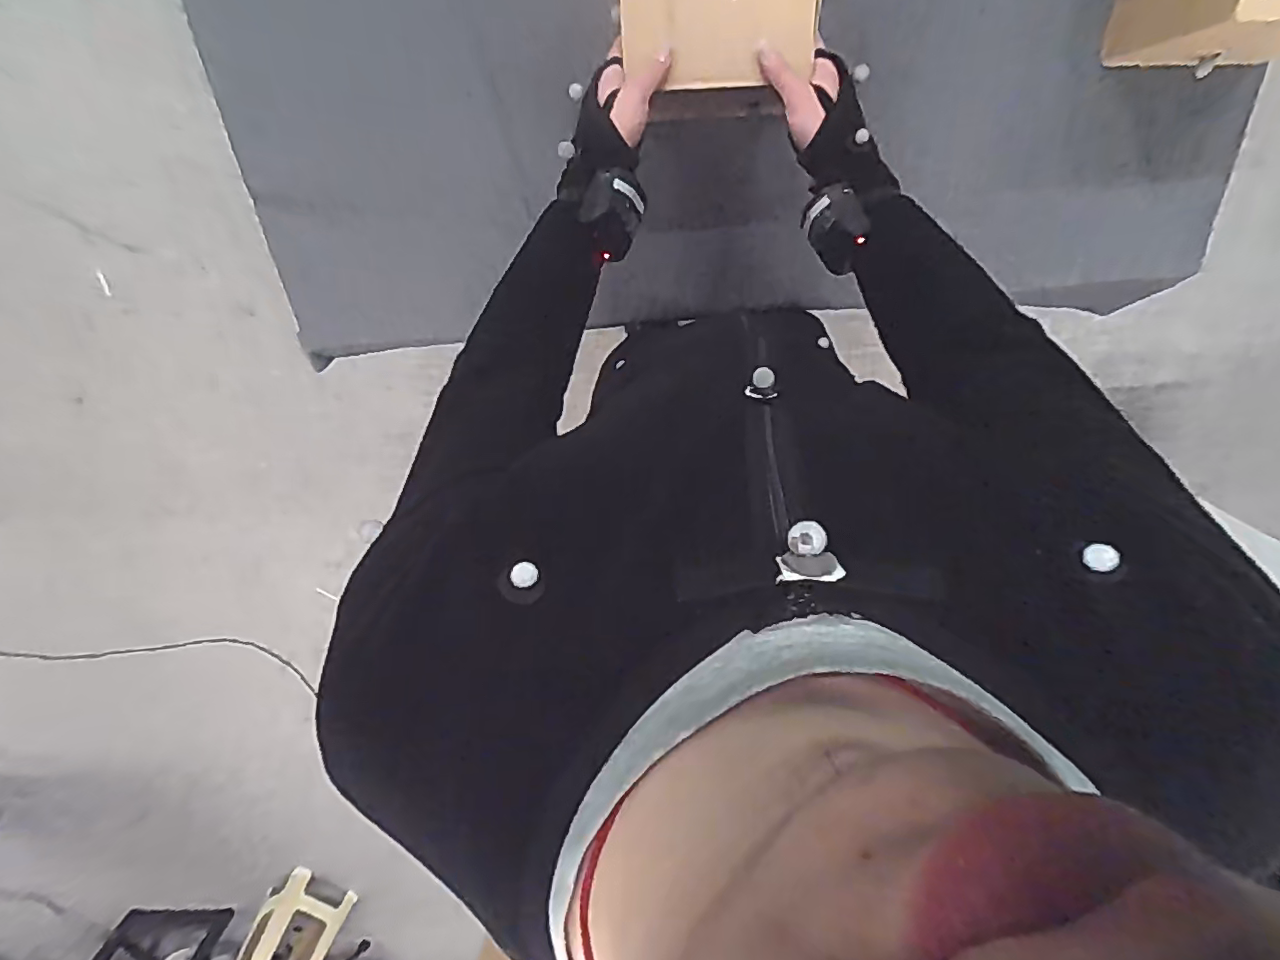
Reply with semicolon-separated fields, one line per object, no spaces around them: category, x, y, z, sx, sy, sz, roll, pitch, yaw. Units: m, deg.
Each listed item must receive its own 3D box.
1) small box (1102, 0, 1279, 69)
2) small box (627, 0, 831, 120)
small box;0.599;-0.497;0.498;0.179;0.176;0.168;1;118;1
small box;0.077;-0.463;0.525;0.179;0.176;0.168;-1;115;3
